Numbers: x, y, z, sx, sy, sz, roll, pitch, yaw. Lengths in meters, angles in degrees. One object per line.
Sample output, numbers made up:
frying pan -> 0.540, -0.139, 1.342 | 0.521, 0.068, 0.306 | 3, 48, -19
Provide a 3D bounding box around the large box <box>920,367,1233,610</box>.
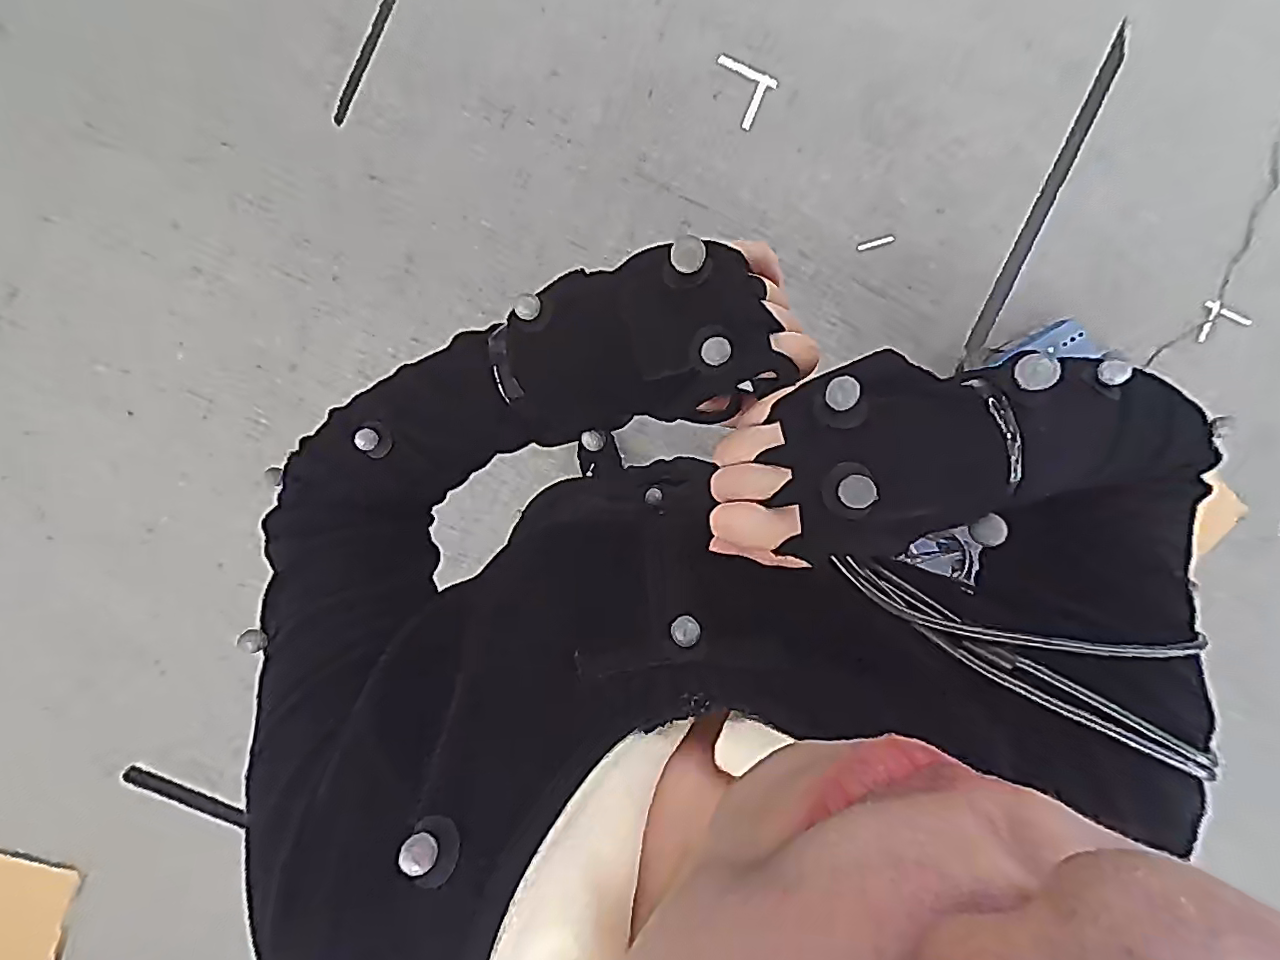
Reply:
large box -> 0.945, 0.012, 1.221 | 0.320, 0.320, 0.408 | -43, 94, 0
